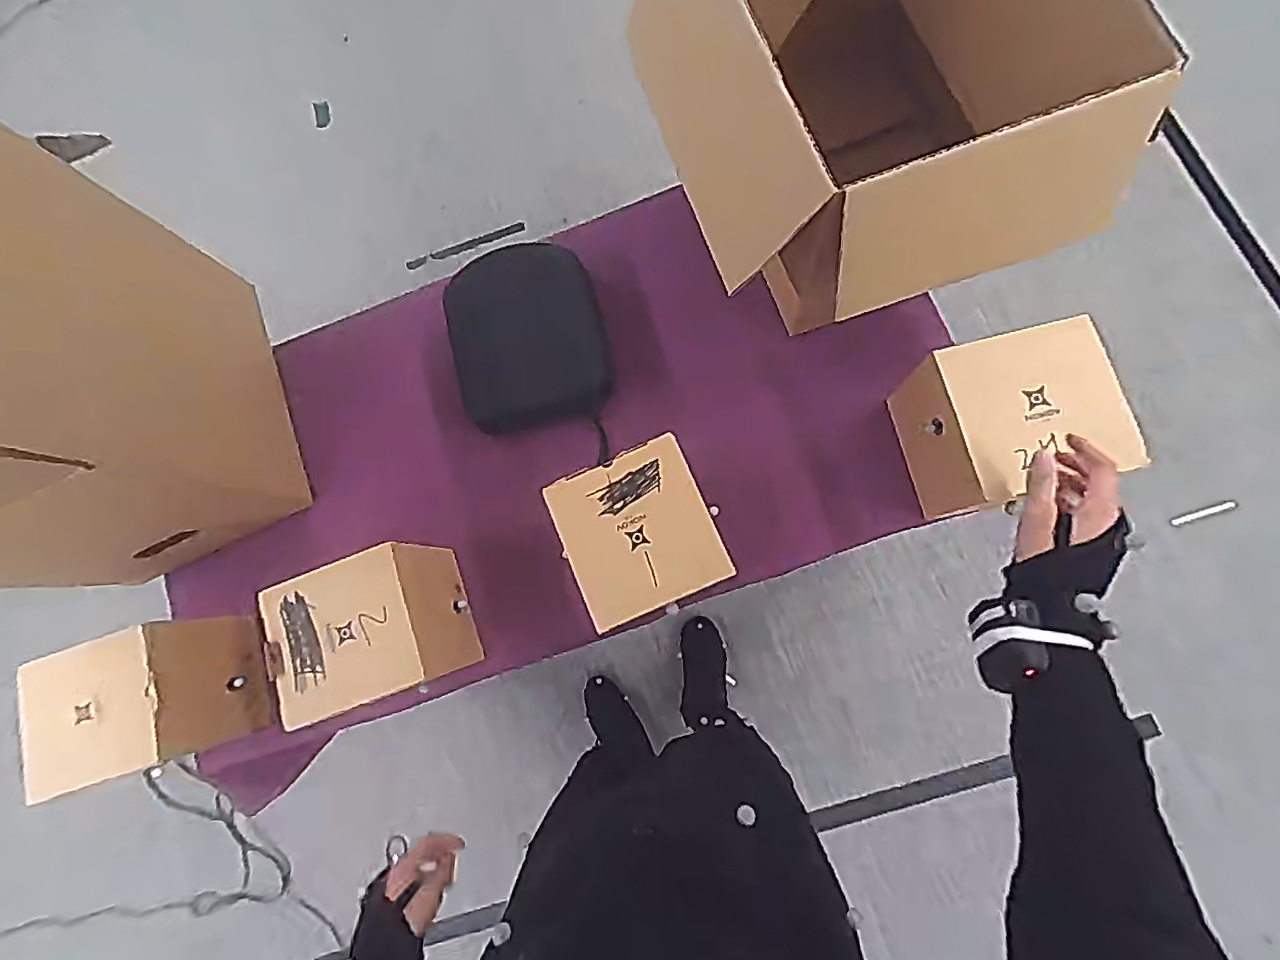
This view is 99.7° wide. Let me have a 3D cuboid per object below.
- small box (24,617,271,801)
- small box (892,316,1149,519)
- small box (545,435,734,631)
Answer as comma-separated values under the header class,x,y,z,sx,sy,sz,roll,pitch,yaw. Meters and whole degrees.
class,x,y,z,sx,sy,sz,roll,pitch,yaw
small box,-0.643,0.290,0.721,0.179,0.176,0.168,-19,78,3
small box,0.424,-0.061,0.642,0.168,0.176,0.179,-13,78,6
small box,0.005,0.071,0.676,0.168,0.176,0.179,-24,78,3
